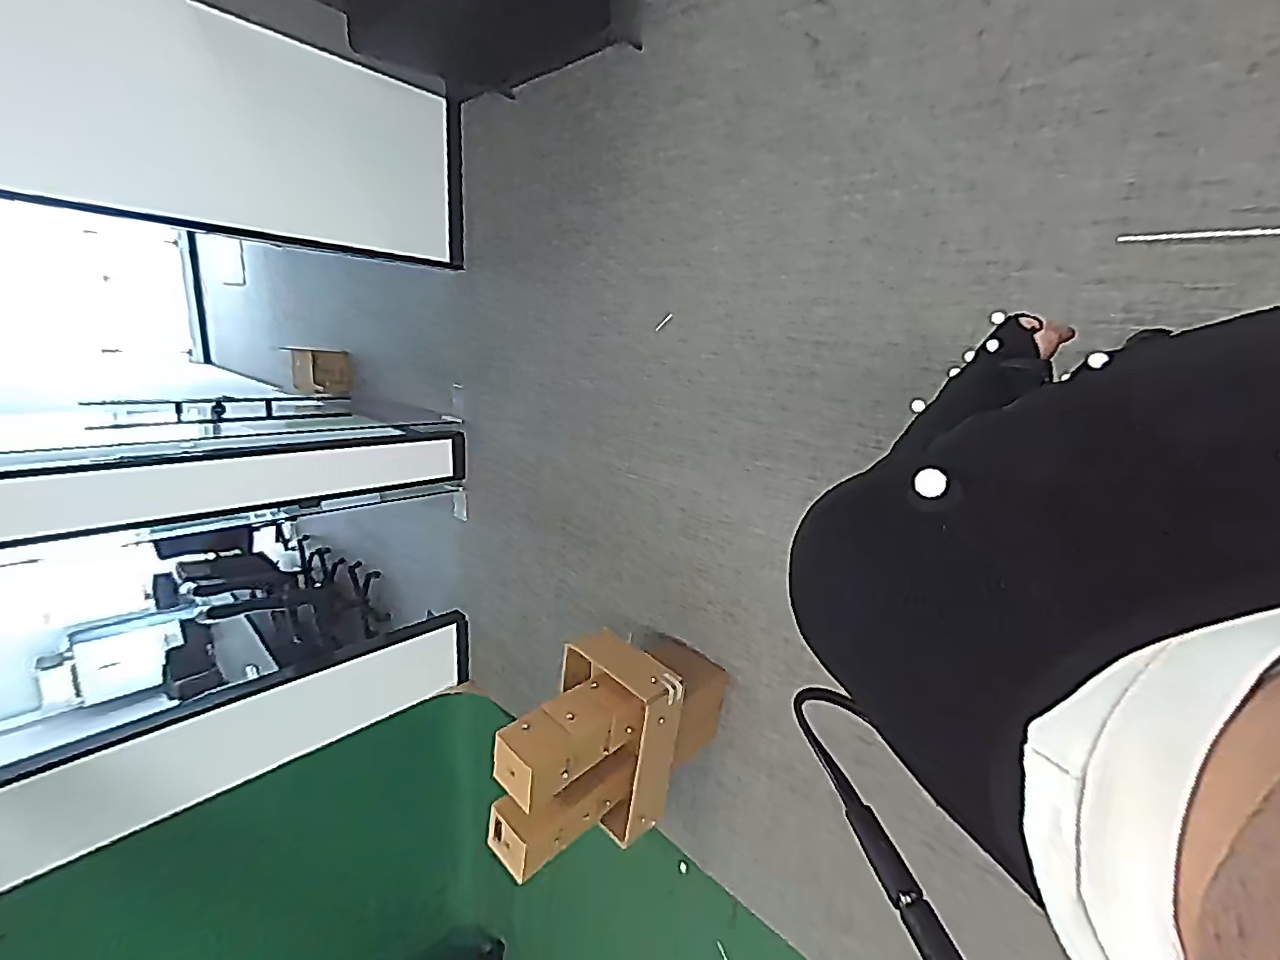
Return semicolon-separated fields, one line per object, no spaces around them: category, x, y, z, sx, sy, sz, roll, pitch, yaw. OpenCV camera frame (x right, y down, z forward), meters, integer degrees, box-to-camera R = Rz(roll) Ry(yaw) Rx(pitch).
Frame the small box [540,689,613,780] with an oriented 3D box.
small box;-0.205;0.802;1.727;0.179;0.176;0.168;23;112;39

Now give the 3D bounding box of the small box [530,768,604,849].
small box;-0.241;1.063;1.805;0.179;0.176;0.168;24;112;38

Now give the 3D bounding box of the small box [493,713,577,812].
small box;-0.313;0.825;1.607;0.179;0.176;0.168;23;113;38

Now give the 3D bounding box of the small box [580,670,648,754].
small box;-0.094;0.781;1.846;0.179;0.176;0.168;23;113;39
